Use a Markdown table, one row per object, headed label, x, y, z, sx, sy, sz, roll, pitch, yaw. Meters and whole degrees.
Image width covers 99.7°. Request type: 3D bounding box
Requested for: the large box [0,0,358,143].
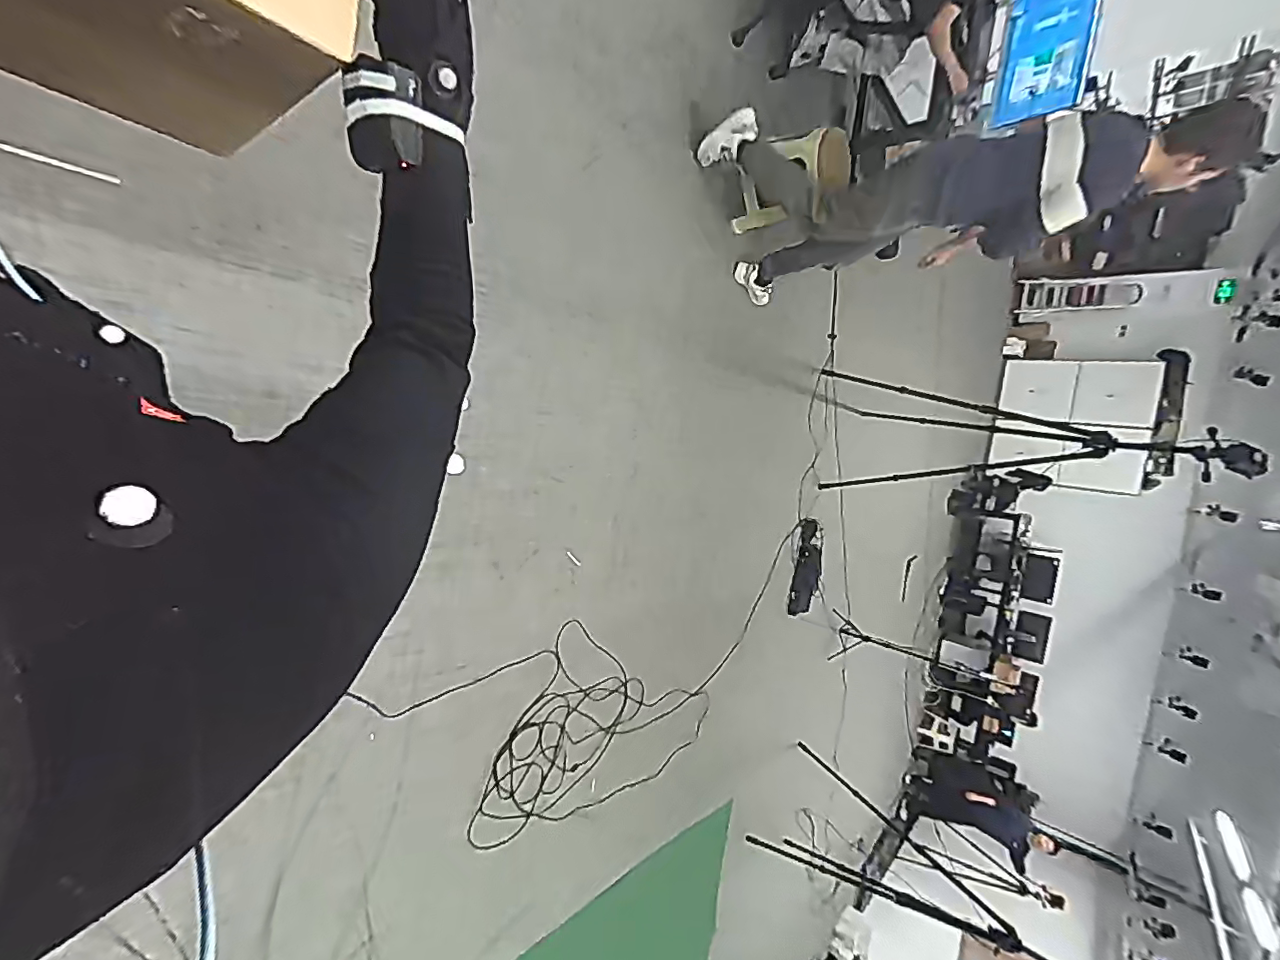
| label | x | y | z | sx | sy | sz | roll | pitch | yaw |
| --- | --- | --- | --- | --- | --- | --- | --- | --- | --- |
| large box | -0.418 | -0.469 | 0.301 | 0.408 | 0.320 | 0.320 | 1 | 100 | -50 |
